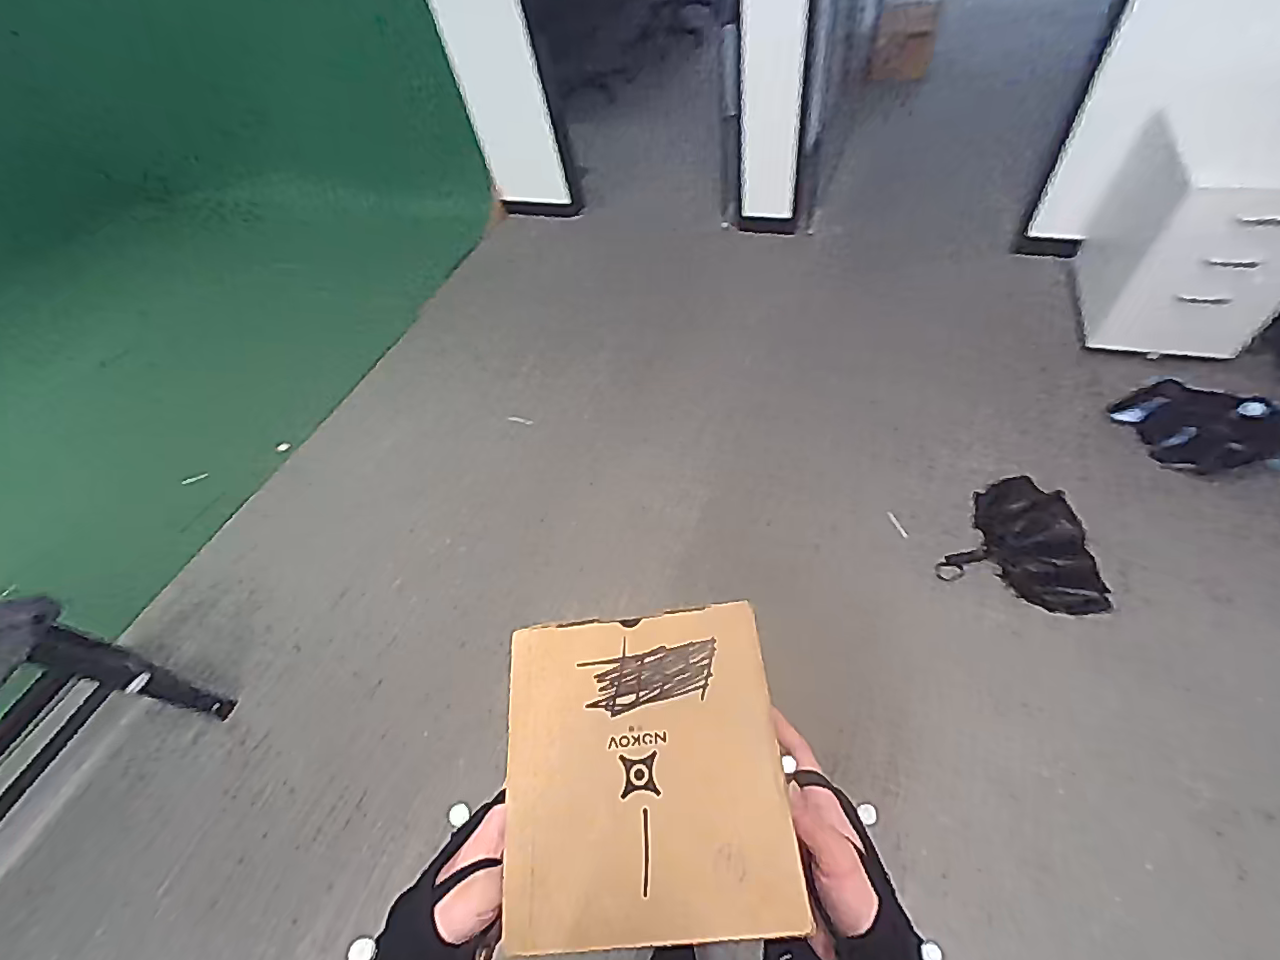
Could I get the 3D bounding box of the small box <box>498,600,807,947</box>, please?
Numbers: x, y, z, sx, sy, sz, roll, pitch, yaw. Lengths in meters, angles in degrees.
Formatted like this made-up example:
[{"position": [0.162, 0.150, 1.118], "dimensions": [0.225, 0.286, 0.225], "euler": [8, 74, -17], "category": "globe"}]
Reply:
[{"position": [0.010, 0.203, 0.392], "dimensions": [0.168, 0.176, 0.179], "euler": [-8, 60, 5], "category": "small box"}]
